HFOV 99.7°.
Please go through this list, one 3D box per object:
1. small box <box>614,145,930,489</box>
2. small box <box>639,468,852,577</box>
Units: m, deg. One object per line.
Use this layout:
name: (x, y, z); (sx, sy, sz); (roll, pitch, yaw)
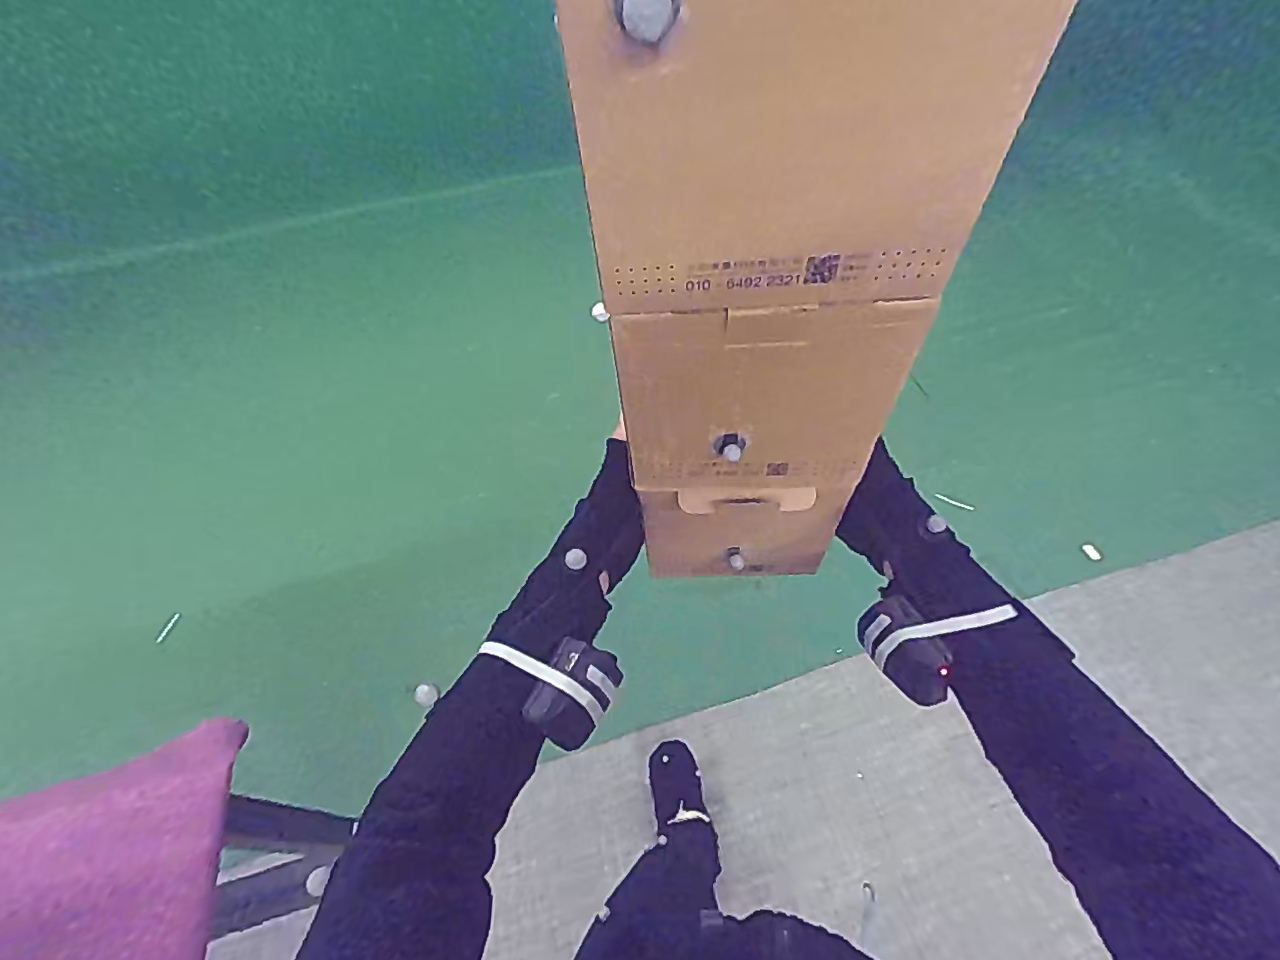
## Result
small box: (0.074, -0.111, 0.393); (0.168, 0.176, 0.179); (-2, 56, 4)
small box: (0.089, -0.020, 0.528); (0.168, 0.176, 0.179); (-1, 56, 5)
